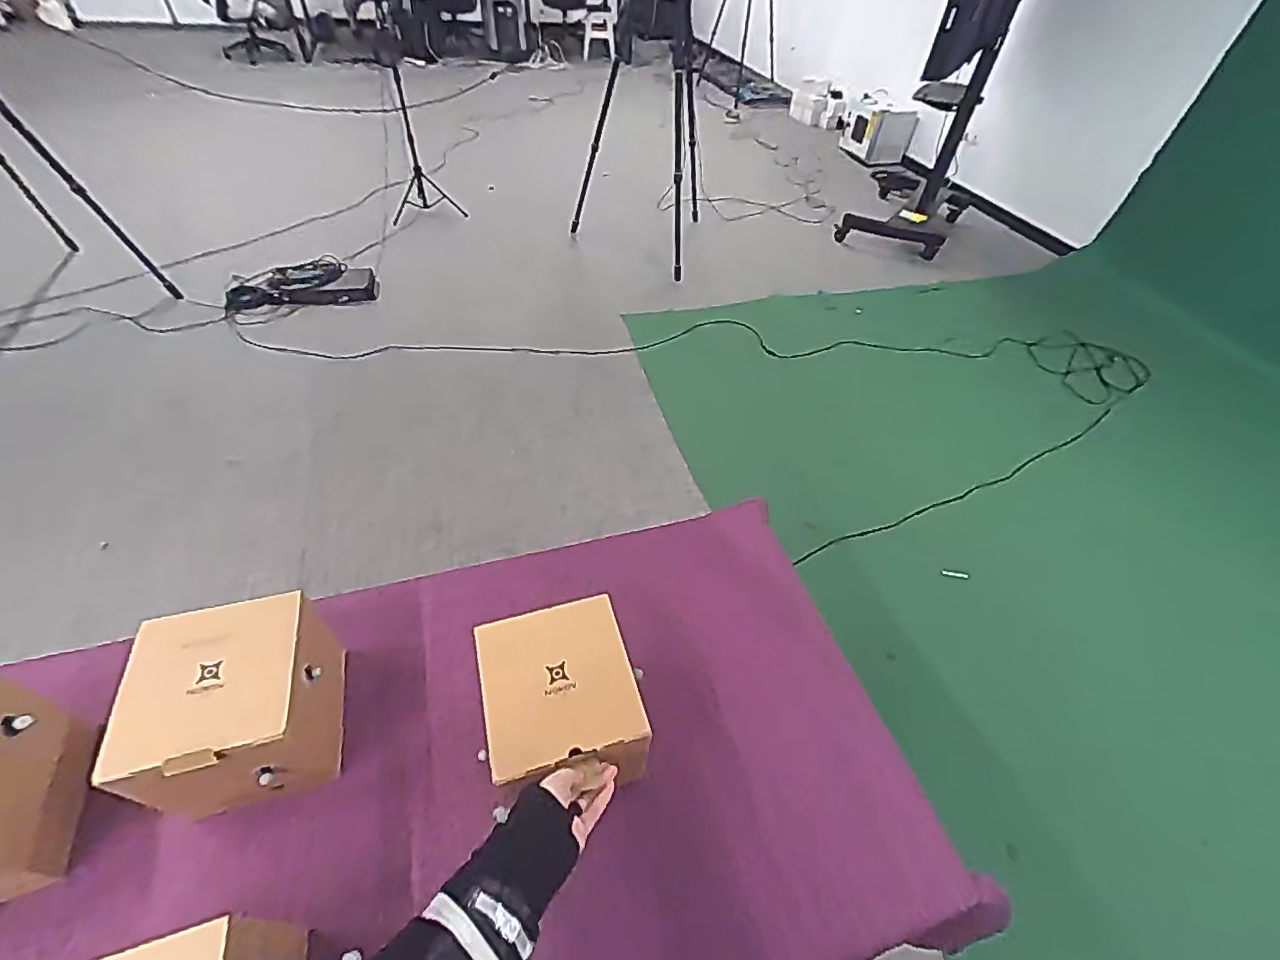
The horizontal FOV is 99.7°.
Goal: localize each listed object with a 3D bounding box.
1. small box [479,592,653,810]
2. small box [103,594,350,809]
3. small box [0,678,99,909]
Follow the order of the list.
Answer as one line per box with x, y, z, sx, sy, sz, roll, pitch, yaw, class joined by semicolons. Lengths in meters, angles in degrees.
-0.093;0.270;0.664;0.168;0.176;0.179;-12;50;-14;small box
-0.461;0.267;0.641;0.168;0.176;0.179;-10;49;-14;small box
-0.719;0.340;0.554;0.168;0.176;0.179;-15;51;-17;small box
